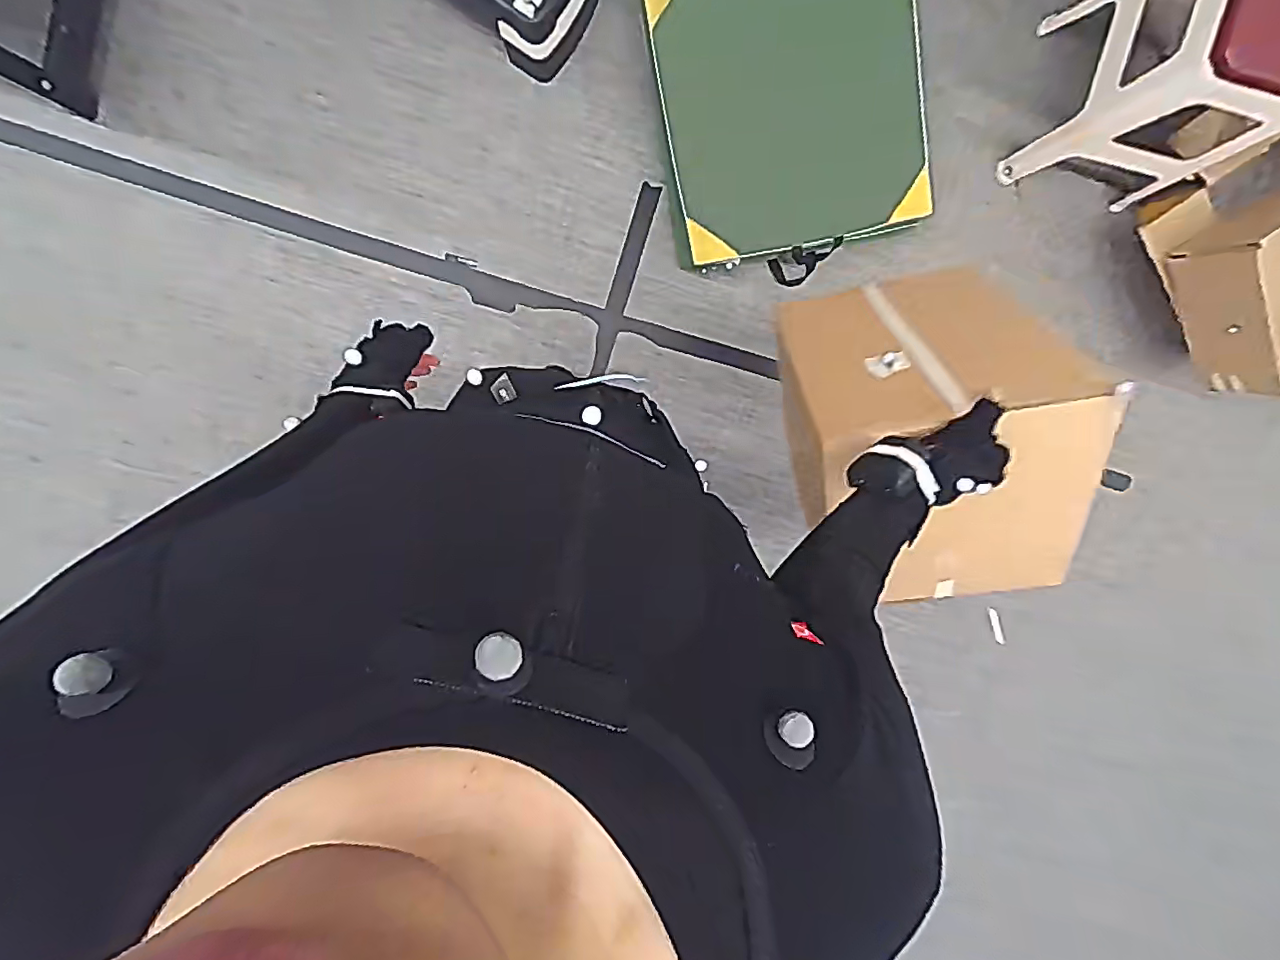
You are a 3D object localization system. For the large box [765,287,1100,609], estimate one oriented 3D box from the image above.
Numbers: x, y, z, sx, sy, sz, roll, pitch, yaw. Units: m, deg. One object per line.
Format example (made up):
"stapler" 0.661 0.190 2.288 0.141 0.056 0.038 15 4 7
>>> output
"large box" 0.396 -0.061 0.861 0.320 0.408 0.320 -10 128 10
